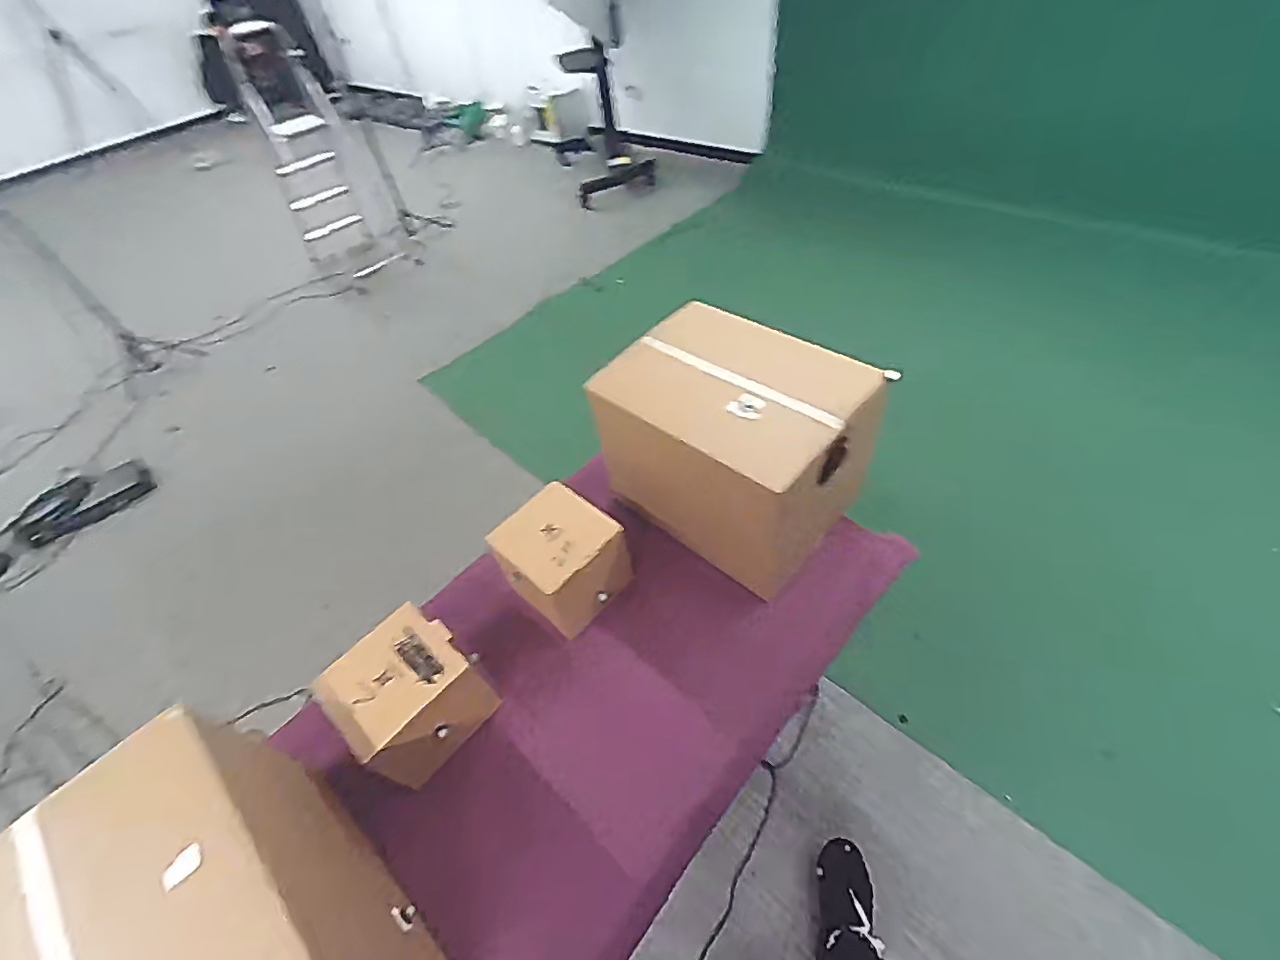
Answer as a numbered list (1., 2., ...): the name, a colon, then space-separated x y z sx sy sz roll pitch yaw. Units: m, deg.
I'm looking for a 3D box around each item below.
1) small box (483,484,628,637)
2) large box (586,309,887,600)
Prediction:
1. small box: -0.143 0.146 0.964 0.179 0.176 0.168 32 61 30
2. large box: 0.165 -0.058 1.006 0.408 0.320 0.320 32 62 30
